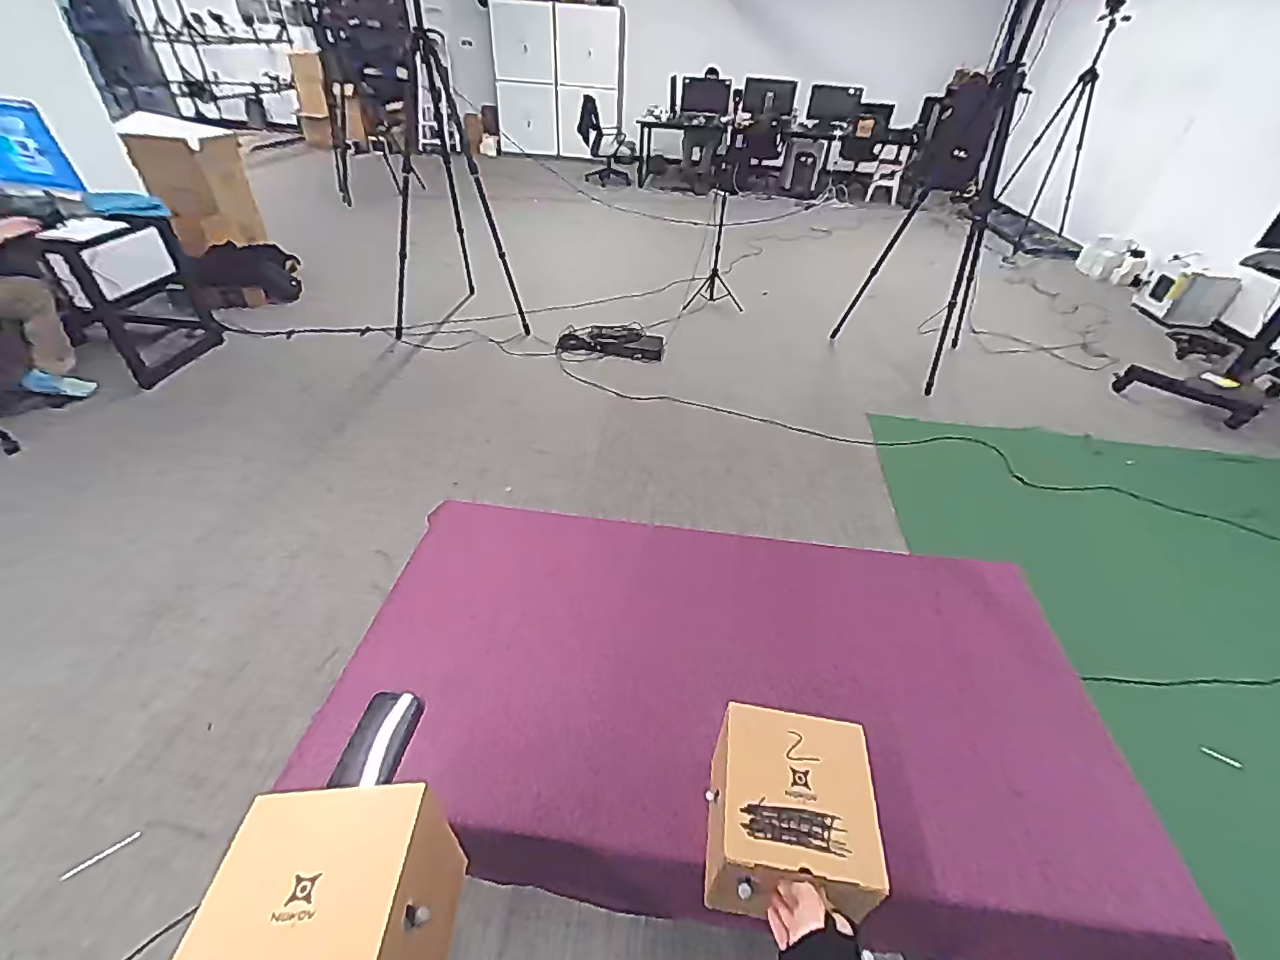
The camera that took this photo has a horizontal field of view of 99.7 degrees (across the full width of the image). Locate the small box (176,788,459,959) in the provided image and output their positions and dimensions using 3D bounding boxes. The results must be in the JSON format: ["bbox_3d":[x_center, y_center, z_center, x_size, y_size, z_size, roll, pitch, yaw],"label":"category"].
[{"bbox_3d":[-0.280,0.420,0.500,0.168,0.176,0.179,-4,34,0],"label":"small box"}]
